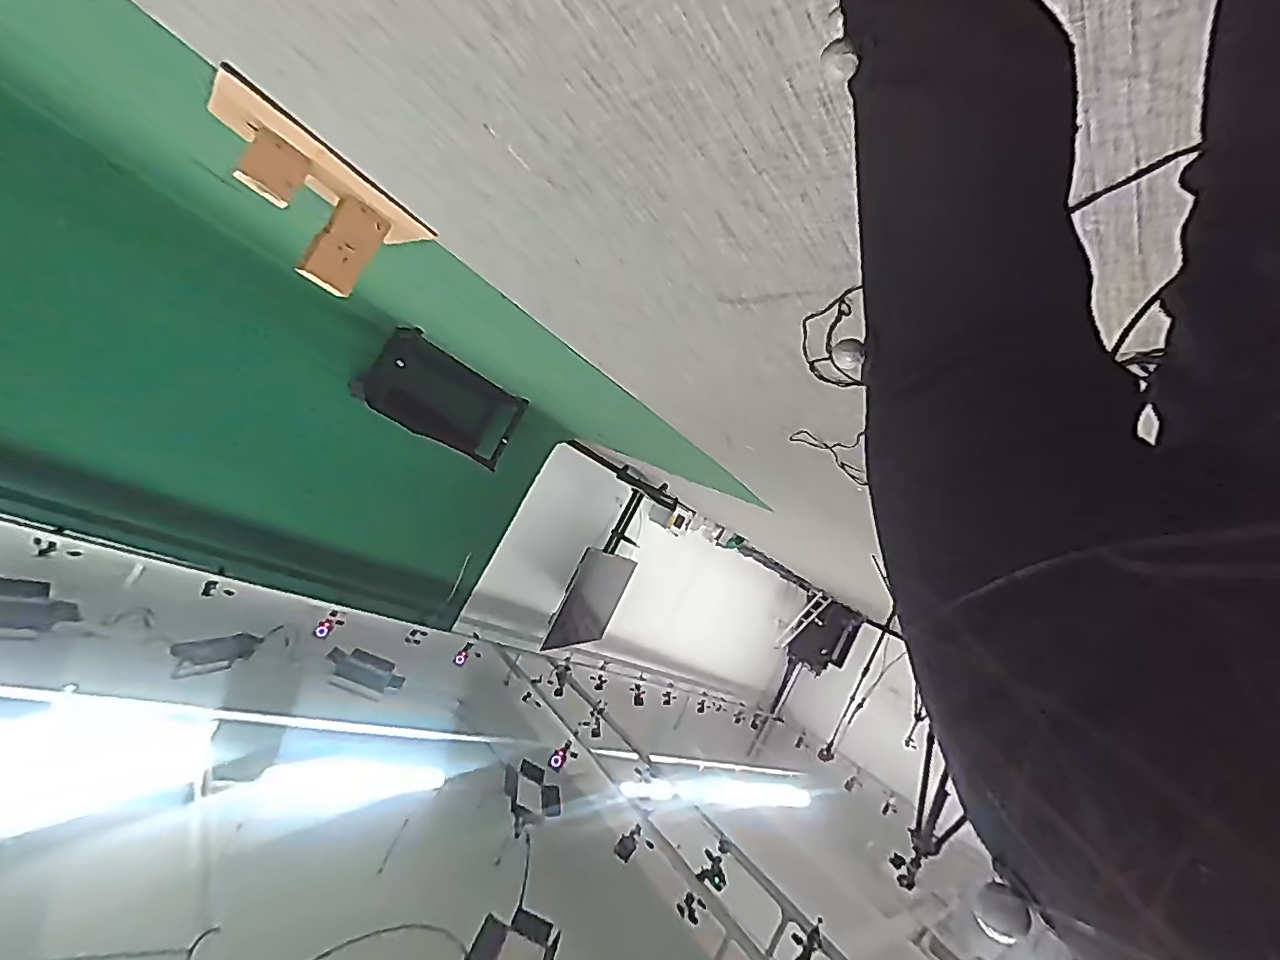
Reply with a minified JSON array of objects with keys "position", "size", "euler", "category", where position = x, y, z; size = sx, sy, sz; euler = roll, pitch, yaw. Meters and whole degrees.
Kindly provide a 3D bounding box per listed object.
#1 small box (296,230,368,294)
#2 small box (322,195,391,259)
[{"position":[-1.197,-0.853,2.108],"size":[0.179,0.176,0.168],"euler":[24,173,44],"category":"small box"},{"position":[-1.108,-0.990,2.116],"size":[0.179,0.176,0.168],"euler":[25,175,45],"category":"small box"}]
